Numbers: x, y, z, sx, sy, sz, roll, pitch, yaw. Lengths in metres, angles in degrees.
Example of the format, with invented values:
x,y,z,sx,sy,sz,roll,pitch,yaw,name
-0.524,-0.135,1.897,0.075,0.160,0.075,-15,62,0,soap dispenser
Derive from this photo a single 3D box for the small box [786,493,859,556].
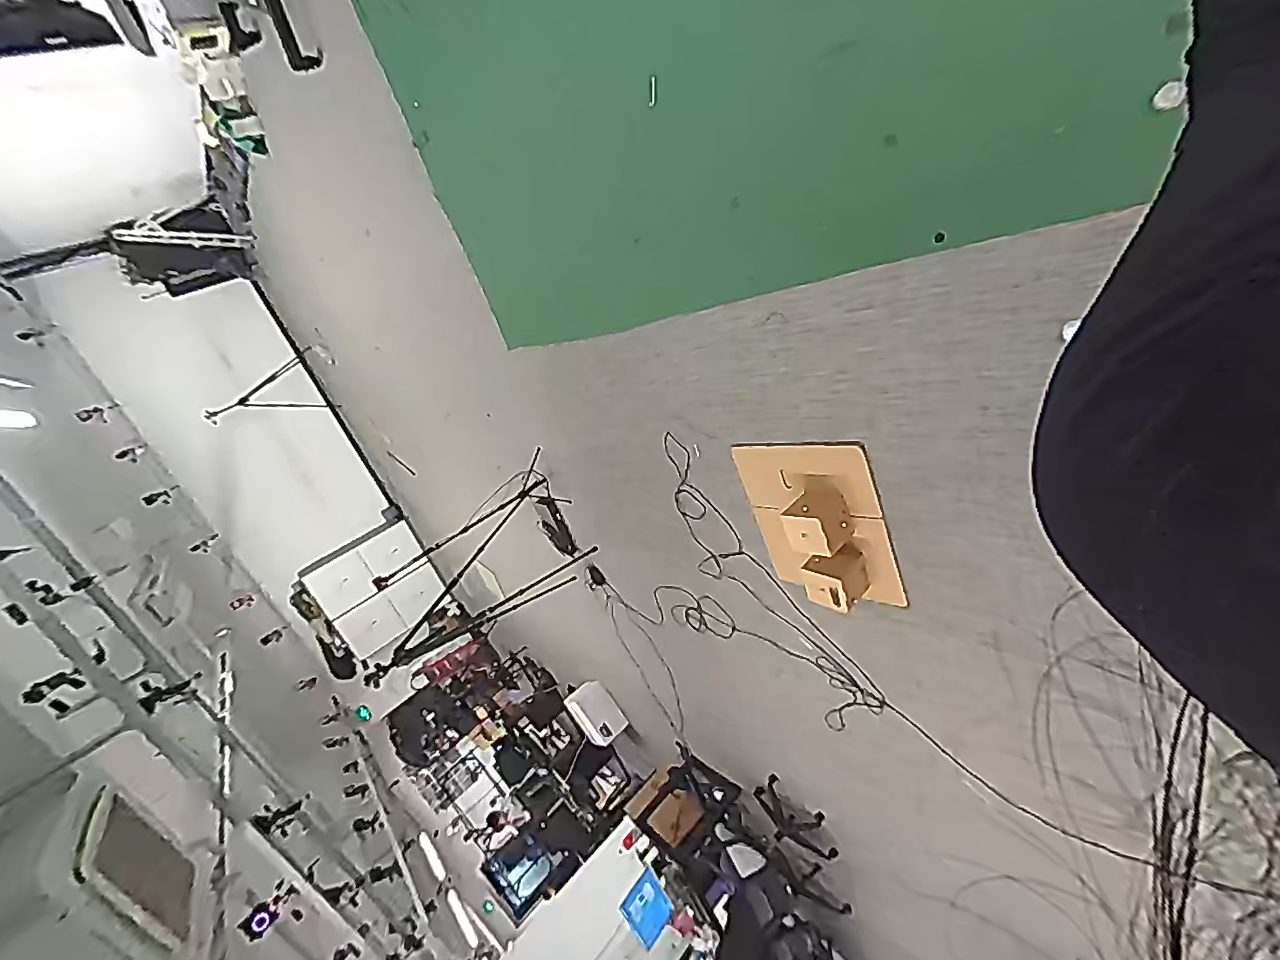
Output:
x,y,z,sx,sy,sz,roll,pitch,yaw,name
0.681,0.160,2.017,0.179,0.176,0.168,1,120,54,small box
